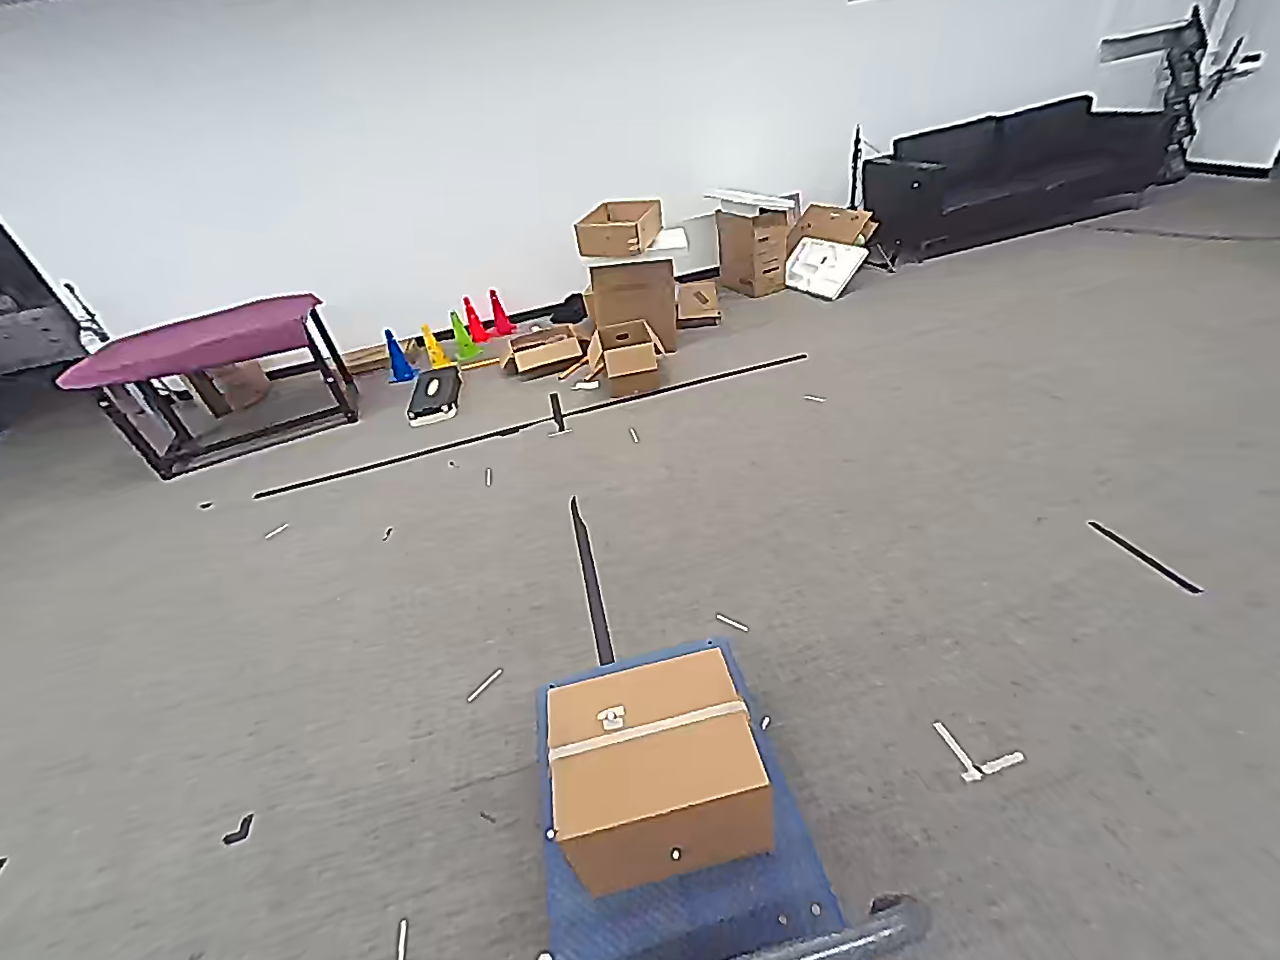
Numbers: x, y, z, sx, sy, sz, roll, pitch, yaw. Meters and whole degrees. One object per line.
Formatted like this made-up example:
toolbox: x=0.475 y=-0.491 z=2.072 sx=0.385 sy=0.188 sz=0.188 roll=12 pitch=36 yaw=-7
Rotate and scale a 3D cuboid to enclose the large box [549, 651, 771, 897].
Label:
large box: x=0.041 y=0.643 z=1.196 sx=0.408 sy=0.320 sz=0.320 roll=-14 pitch=35 yaw=-3
